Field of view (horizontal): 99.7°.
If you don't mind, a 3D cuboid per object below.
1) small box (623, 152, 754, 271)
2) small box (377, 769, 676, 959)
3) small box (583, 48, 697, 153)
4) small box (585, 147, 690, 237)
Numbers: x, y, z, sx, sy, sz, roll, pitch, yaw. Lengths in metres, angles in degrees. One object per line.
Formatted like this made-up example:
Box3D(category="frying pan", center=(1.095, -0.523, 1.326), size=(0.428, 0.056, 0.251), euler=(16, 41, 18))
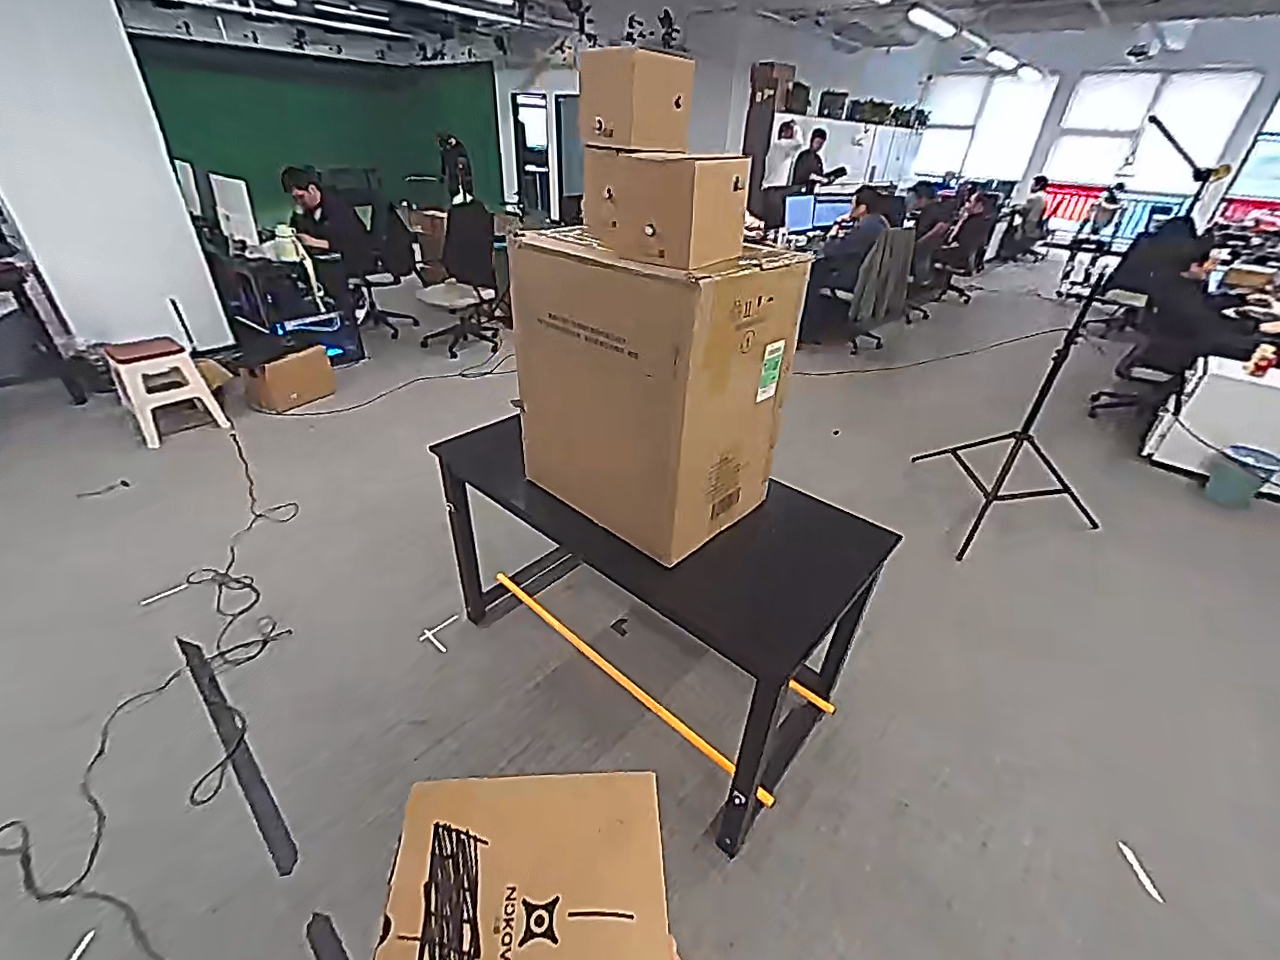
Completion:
Box3D(category="small box", center=(0.083, -0.489, 0.977), size=(0.168, 0.176, 0.179), euler=(25, 40, 33))
Box3D(category="small box", center=(-0.071, 0.327, 0.381), size=(0.179, 0.176, 0.168), euler=(1, 40, -6))
Box3D(category="small box", center=(-0.006, -0.789, 1.136), size=(0.168, 0.176, 0.179), euler=(29, 41, 35))
Box3D(category="small box", center=(-0.007, -0.659, 1.237), size=(0.168, 0.176, 0.179), euler=(29, 41, 32))
